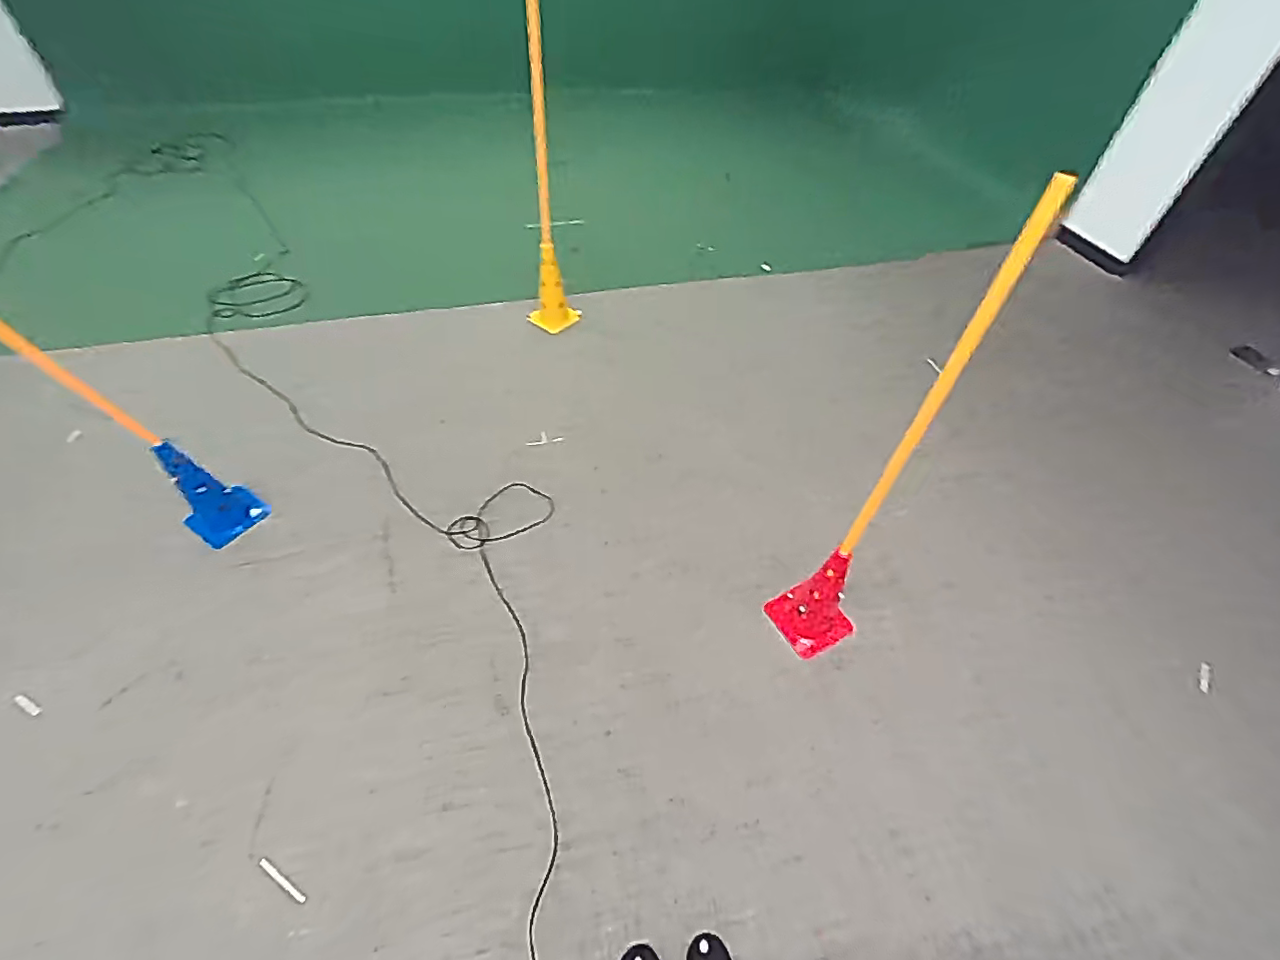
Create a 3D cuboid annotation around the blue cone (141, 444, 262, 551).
[{"bbox_3d":[-1.360,0.033,1.639,0.192,0.380,0.193,27,56,19],"label":"blue cone"}]
